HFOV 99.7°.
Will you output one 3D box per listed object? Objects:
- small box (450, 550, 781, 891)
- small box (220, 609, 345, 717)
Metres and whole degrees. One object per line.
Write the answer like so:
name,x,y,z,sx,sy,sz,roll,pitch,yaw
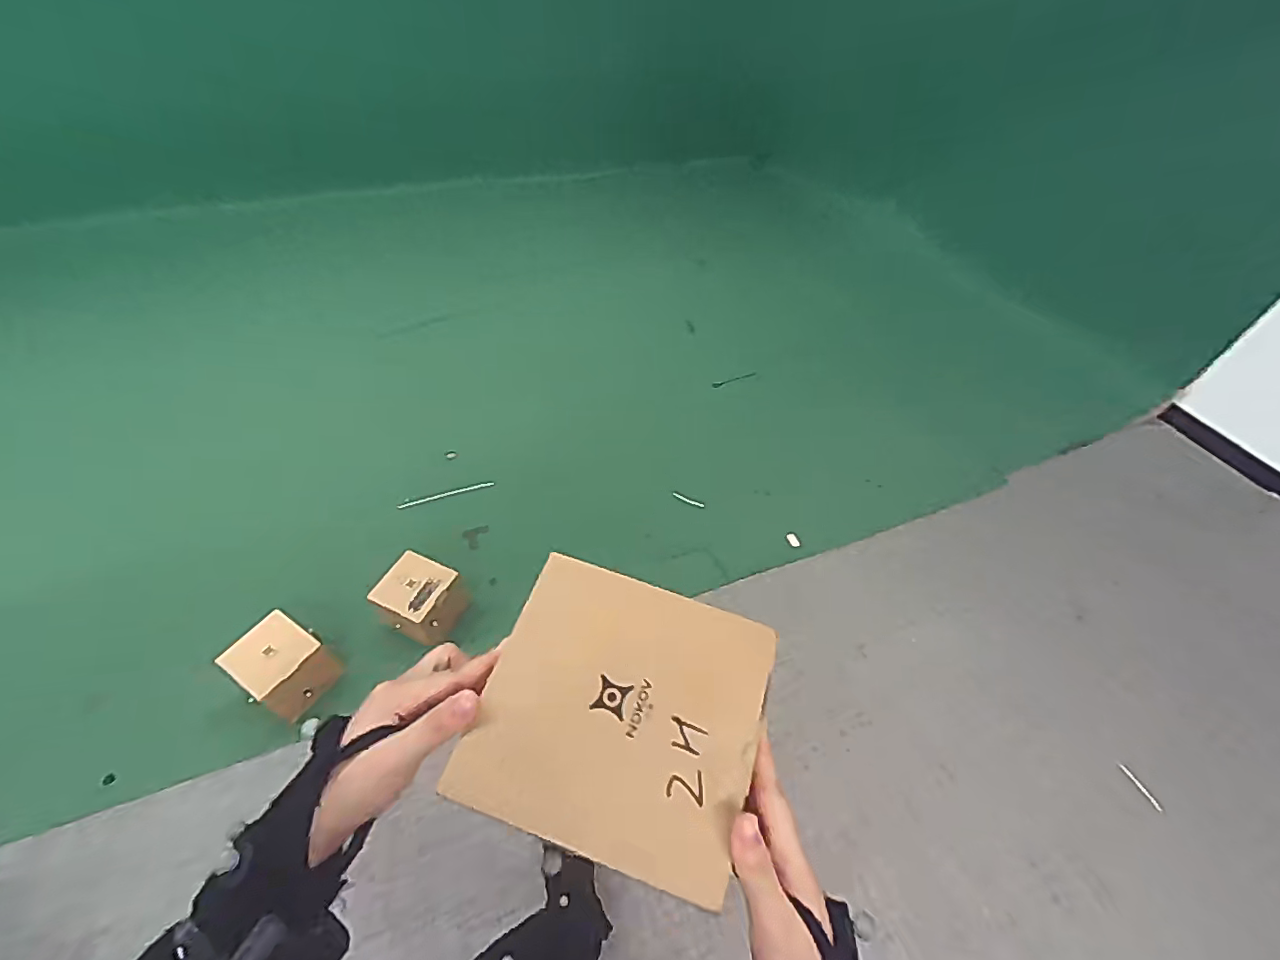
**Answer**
small box,-0.013,0.184,0.417,0.179,0.176,0.168,18,57,7
small box,-0.890,0.466,1.362,0.179,0.176,0.168,27,53,17
